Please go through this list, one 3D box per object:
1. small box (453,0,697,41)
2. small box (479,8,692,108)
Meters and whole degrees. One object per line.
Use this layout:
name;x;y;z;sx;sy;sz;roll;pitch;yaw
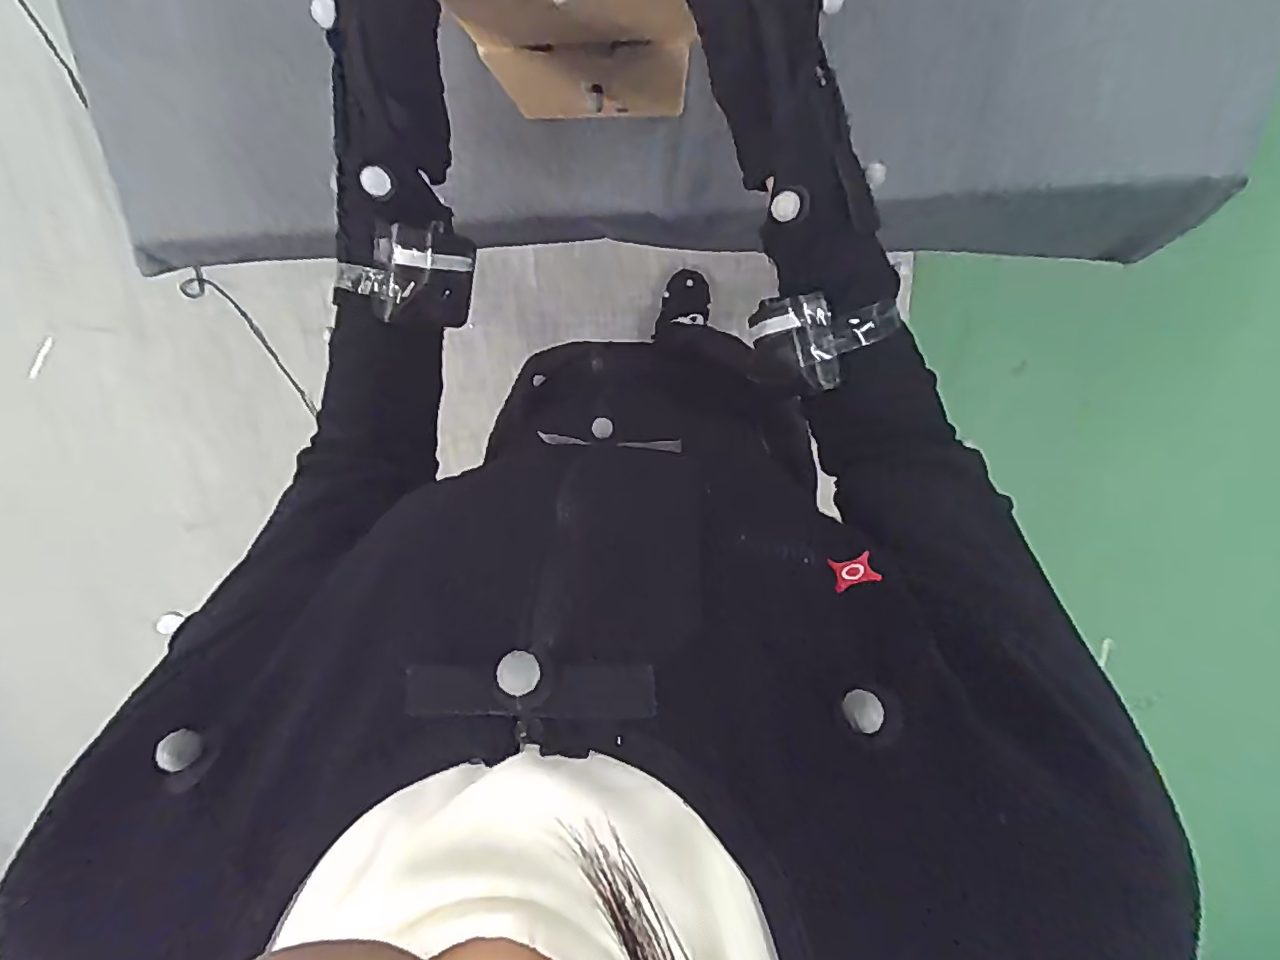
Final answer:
small box;-0.044;-0.385;0.305;0.179;0.176;0.168;-1;108;5
small box;-0.039;-0.440;0.460;0.168;0.176;0.179;-1;109;4
